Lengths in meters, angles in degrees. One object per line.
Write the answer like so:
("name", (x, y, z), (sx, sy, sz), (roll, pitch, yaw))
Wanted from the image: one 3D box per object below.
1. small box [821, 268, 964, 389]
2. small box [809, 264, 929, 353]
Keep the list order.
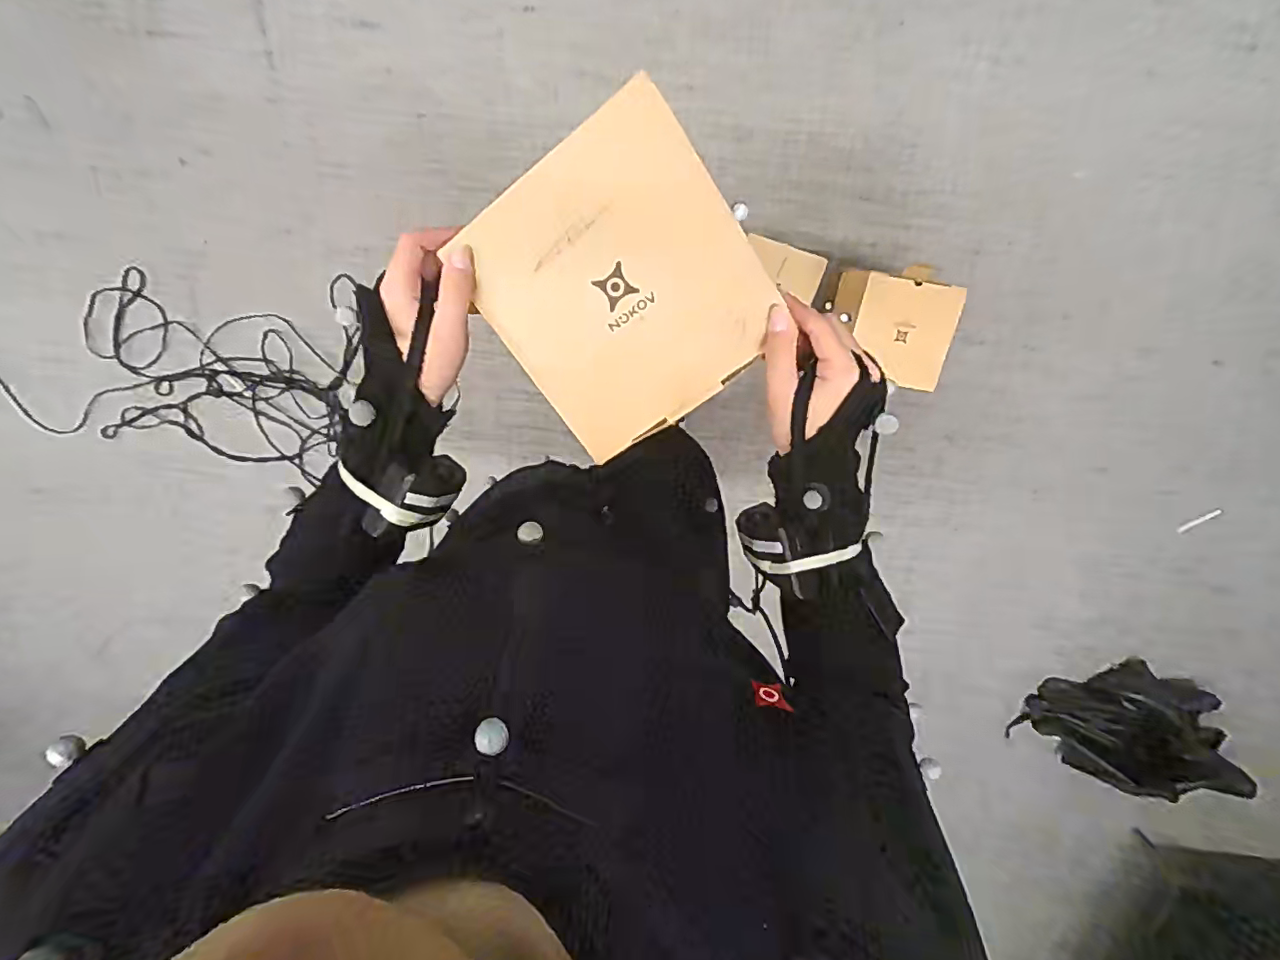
("small box", (0.445, -0.279, 0.989), (0.168, 0.176, 0.179), (10, 109, 1))
("small box", (0.470, -0.344, 1.138), (0.168, 0.176, 0.179), (10, 109, 1))
